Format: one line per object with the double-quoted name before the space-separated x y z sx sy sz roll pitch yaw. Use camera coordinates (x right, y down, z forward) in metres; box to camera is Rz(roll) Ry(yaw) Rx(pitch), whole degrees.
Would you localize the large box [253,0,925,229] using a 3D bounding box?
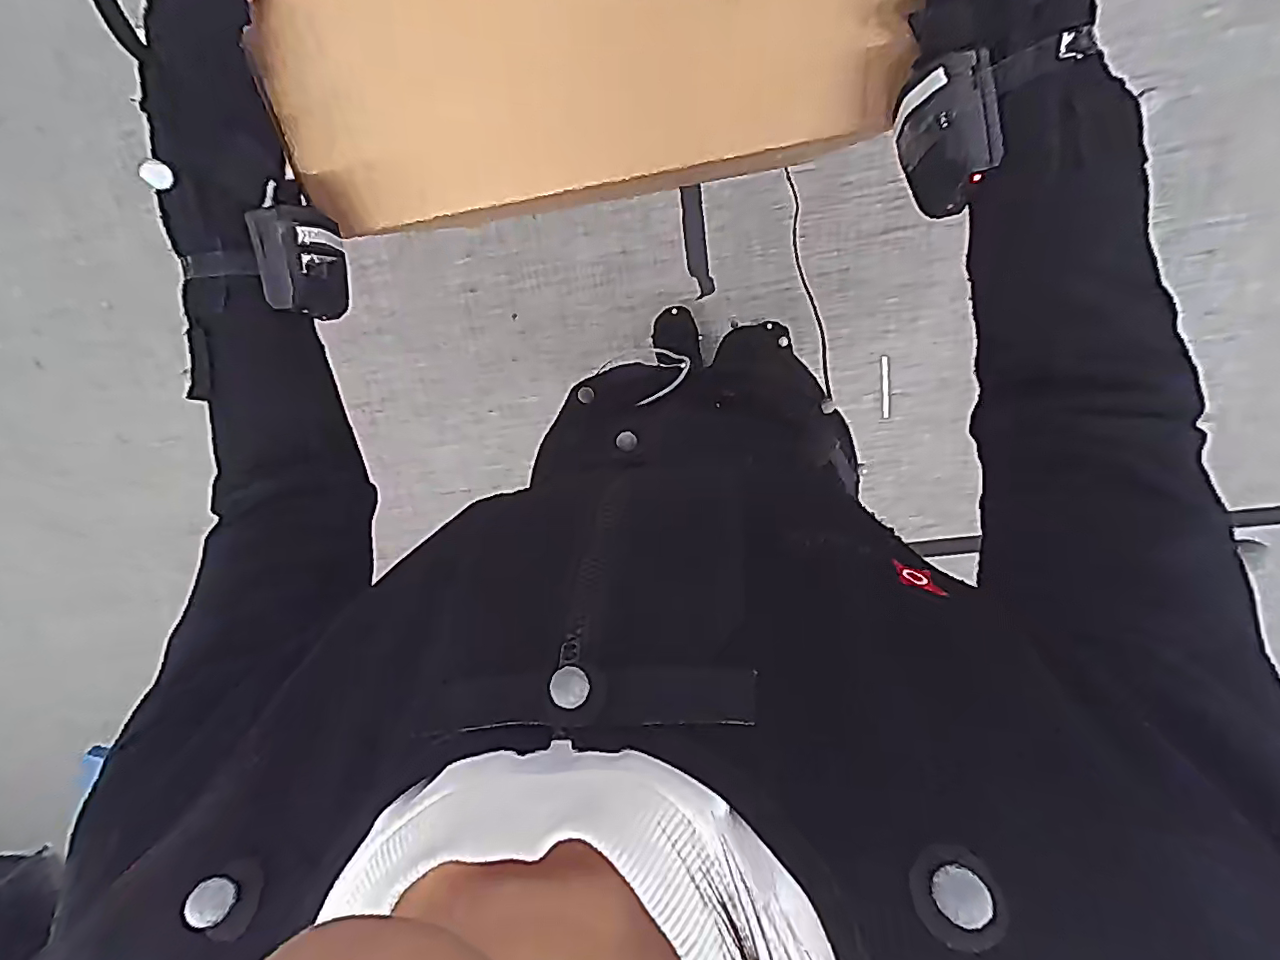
"large box" -0.039 -0.408 0.430 0.408 0.320 0.320 -7 116 8
